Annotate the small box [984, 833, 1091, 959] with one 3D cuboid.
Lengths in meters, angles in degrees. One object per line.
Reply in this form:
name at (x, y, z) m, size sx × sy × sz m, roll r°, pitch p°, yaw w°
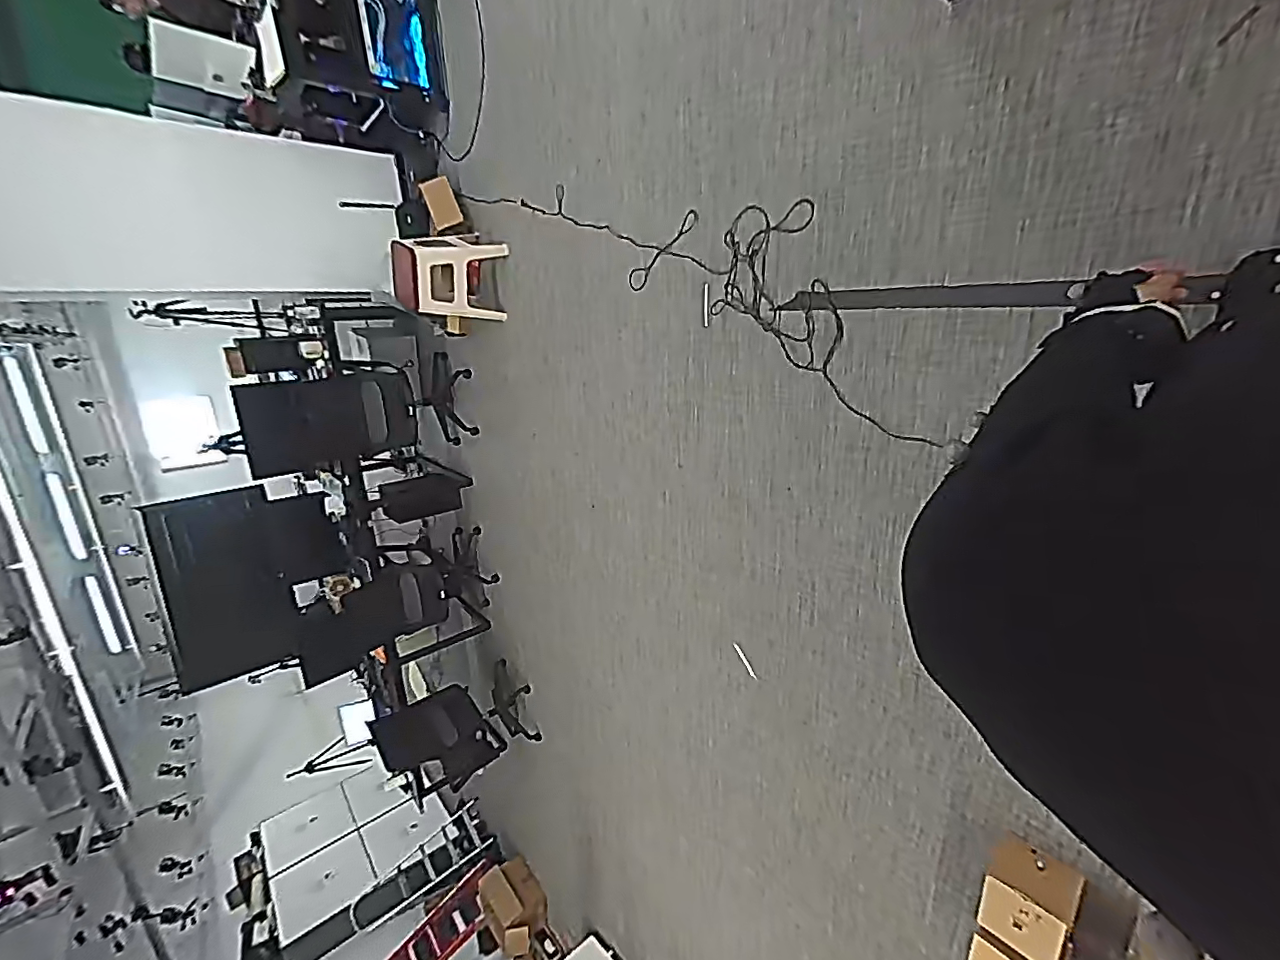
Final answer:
small box at (0.992, 1.044, 1.349) m, size 0.168 × 0.176 × 0.179 m, roll 17°, pitch 115°, yaw 48°
